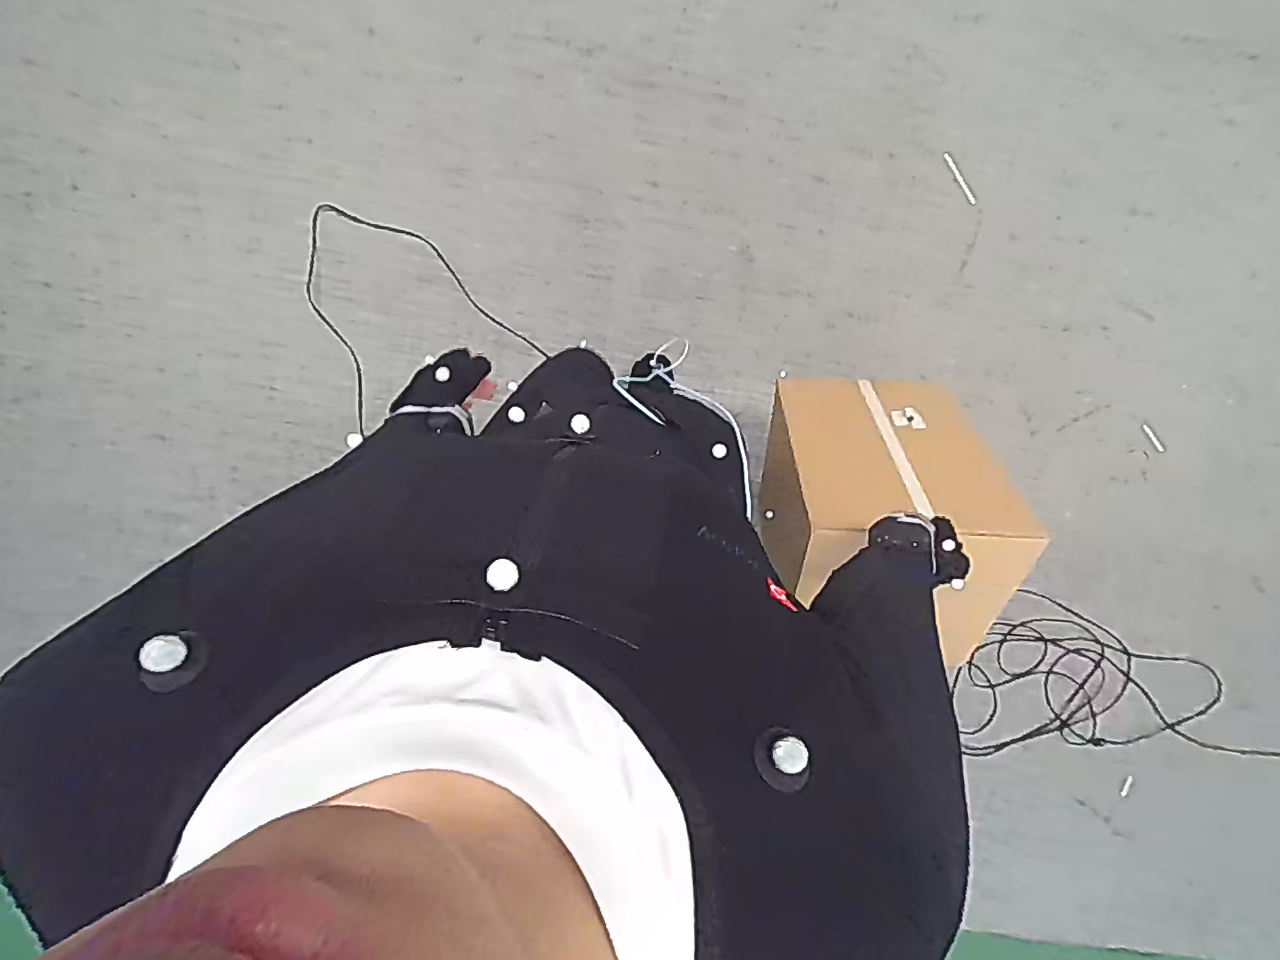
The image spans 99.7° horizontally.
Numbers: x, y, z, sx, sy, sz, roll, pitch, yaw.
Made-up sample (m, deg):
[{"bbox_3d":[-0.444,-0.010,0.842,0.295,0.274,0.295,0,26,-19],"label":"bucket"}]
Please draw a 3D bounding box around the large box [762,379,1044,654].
[{"bbox_3d":[0.409,0.056,0.976,0.320,0.408,0.320,3,130,4],"label":"large box"}]
